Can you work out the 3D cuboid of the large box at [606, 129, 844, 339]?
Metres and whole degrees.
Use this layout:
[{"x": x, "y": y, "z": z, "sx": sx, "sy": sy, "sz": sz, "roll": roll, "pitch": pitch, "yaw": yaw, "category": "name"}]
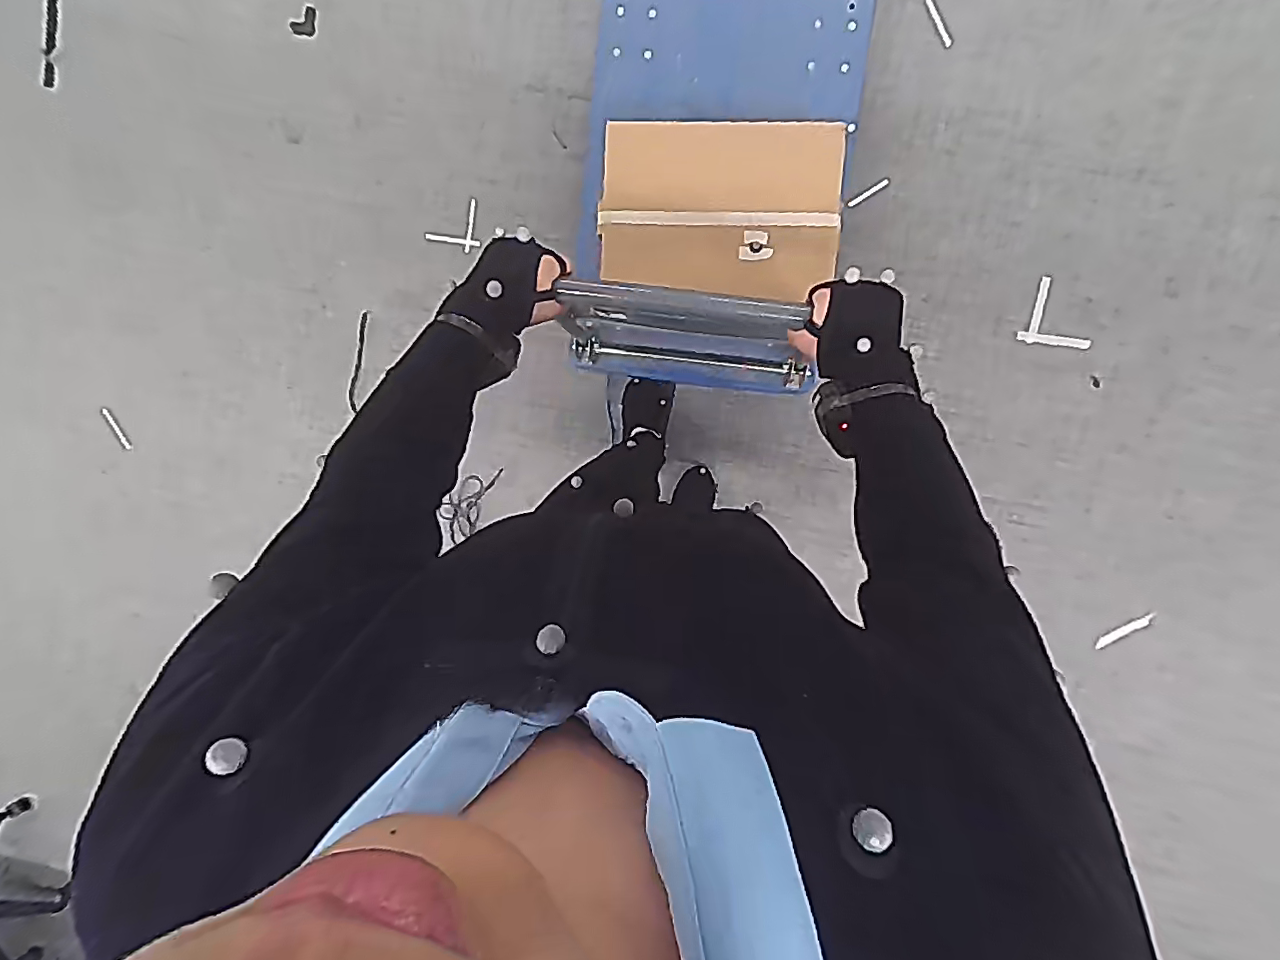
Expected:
[{"x": 0.150, "y": -0.464, "z": 1.086, "sx": 0.408, "sy": 0.320, "sz": 0.320, "roll": 3, "pitch": 98, "yaw": 4, "category": "large box"}]
